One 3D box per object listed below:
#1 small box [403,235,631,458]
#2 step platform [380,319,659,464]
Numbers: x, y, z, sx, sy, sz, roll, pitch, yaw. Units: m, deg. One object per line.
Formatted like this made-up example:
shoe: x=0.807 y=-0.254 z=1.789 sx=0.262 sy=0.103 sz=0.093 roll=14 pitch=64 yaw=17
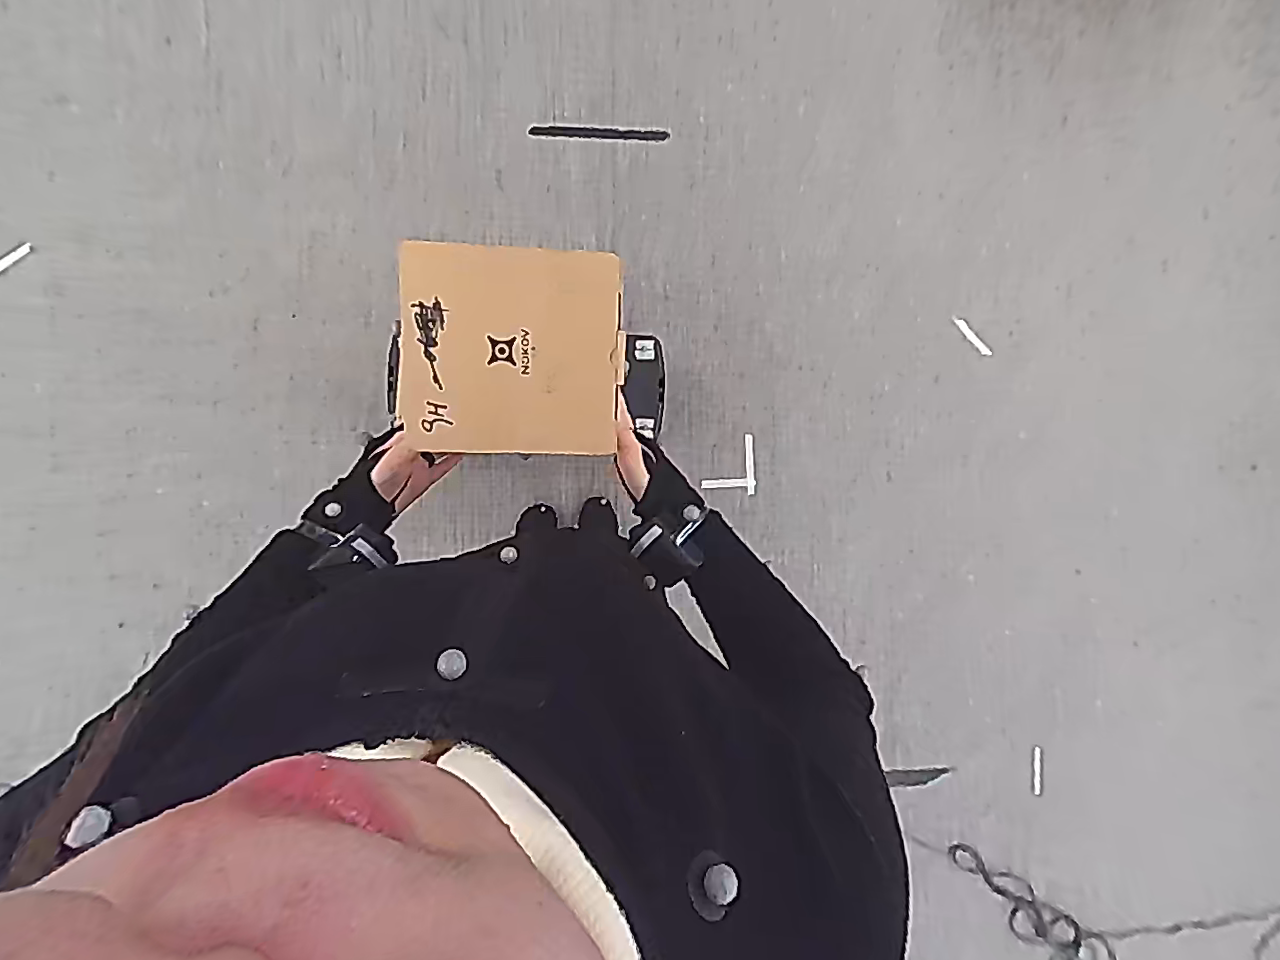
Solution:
small box: x=-0.109 y=-0.112 z=0.507 sx=0.179 sy=0.176 sz=0.168 roll=1 pitch=97 yaw=-8
step platform: x=-0.291 y=-0.217 z=1.387 sx=0.684 sy=0.204 sz=0.286 roll=6 pitch=89 yaw=-5
